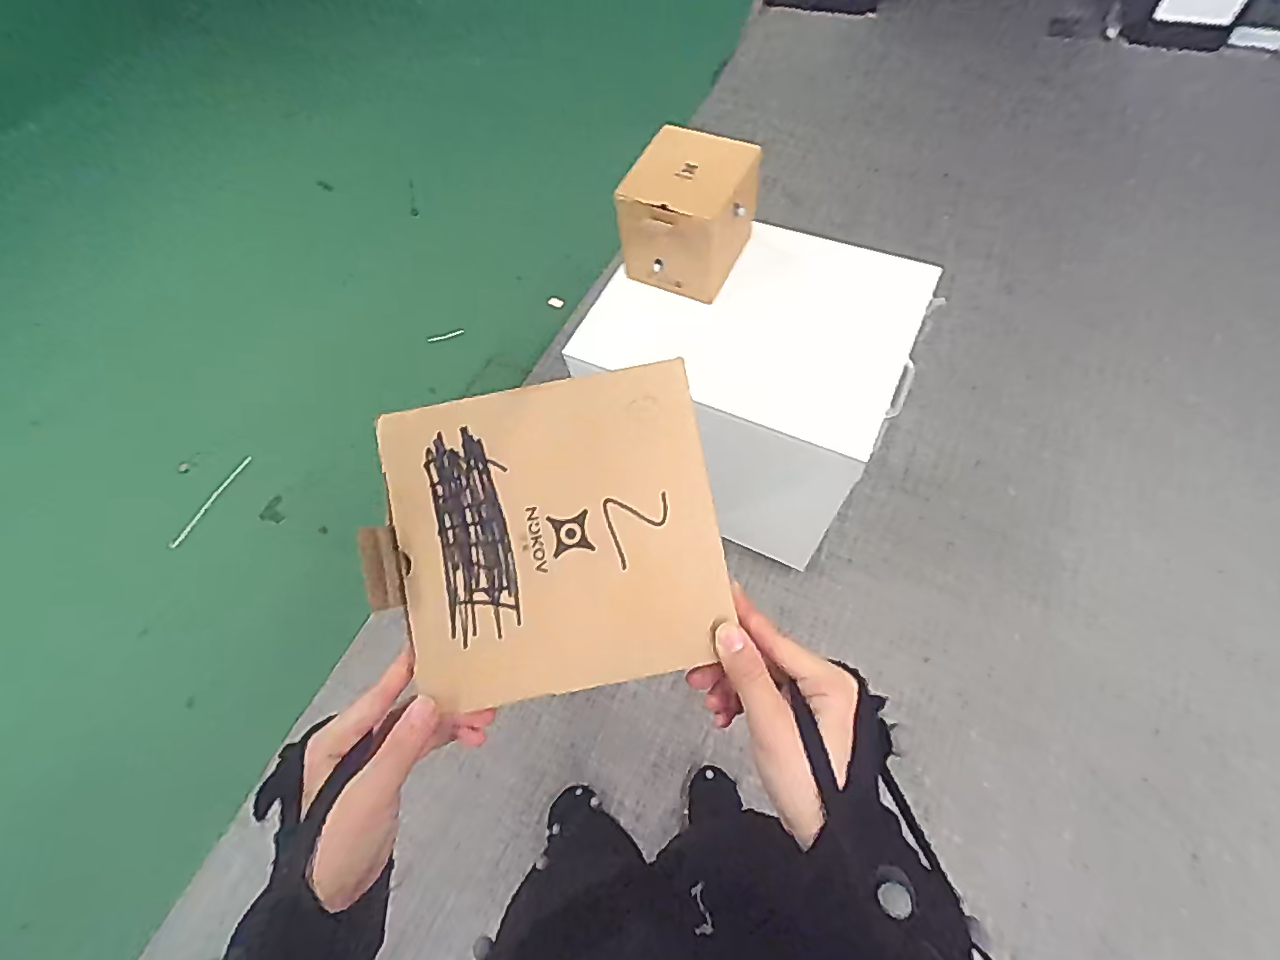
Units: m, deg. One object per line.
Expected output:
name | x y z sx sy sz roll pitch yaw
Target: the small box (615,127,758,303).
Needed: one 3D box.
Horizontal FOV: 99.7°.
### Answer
small box | 0.076 -0.430 0.888 0.168 0.176 0.179 24 70 15
